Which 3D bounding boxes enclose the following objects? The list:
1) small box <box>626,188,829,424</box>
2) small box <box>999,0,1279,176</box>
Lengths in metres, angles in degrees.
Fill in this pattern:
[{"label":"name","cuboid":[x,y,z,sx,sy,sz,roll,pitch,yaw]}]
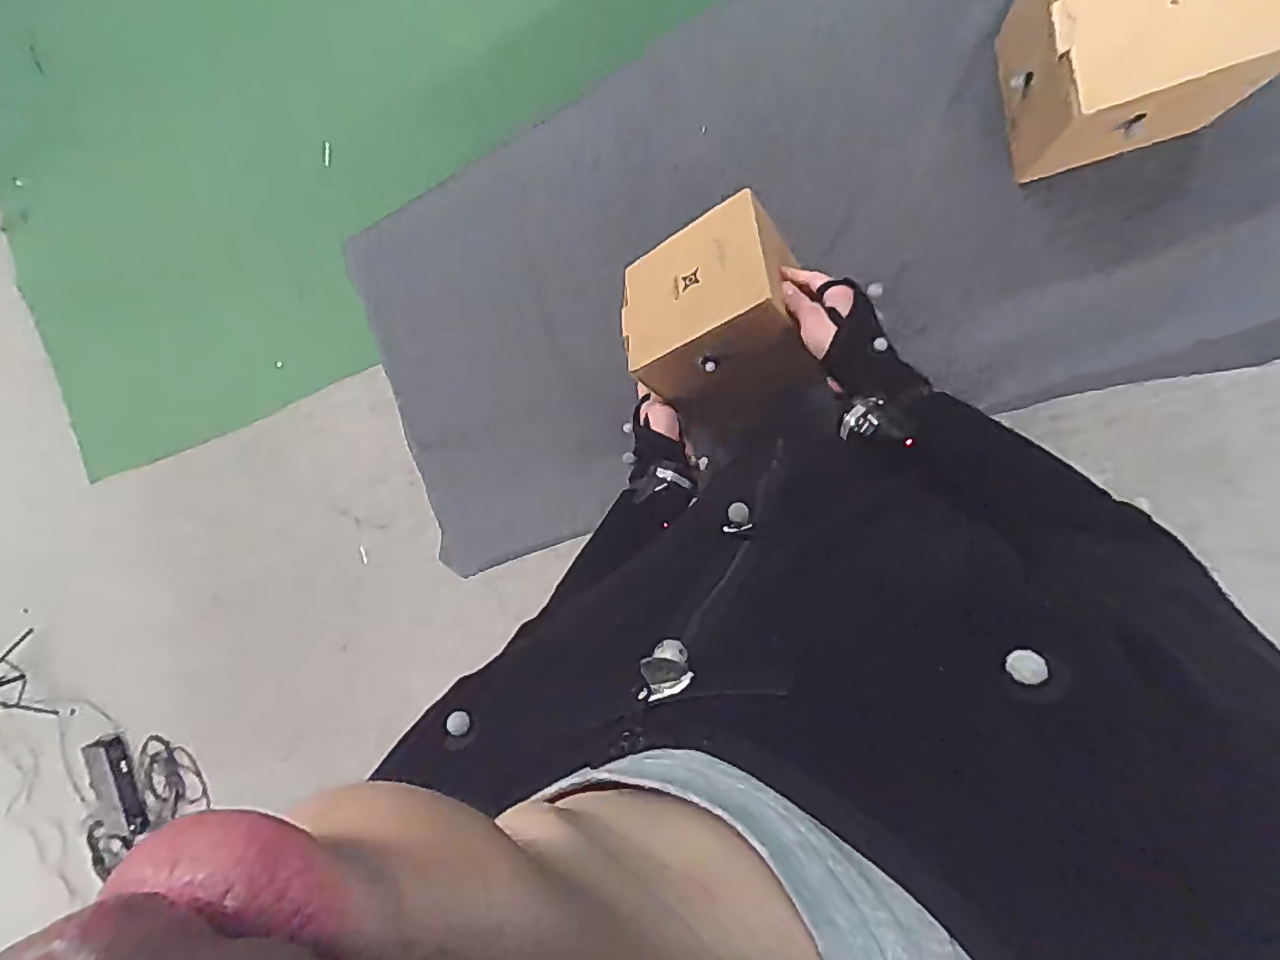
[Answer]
[{"label":"small box","cuboid":[0.102,-0.190,0.647,0.179,0.176,0.168,-21,58,30]},{"label":"small box","cuboid":[0.475,-0.431,0.528,0.179,0.176,0.168,-10,96,20]}]
